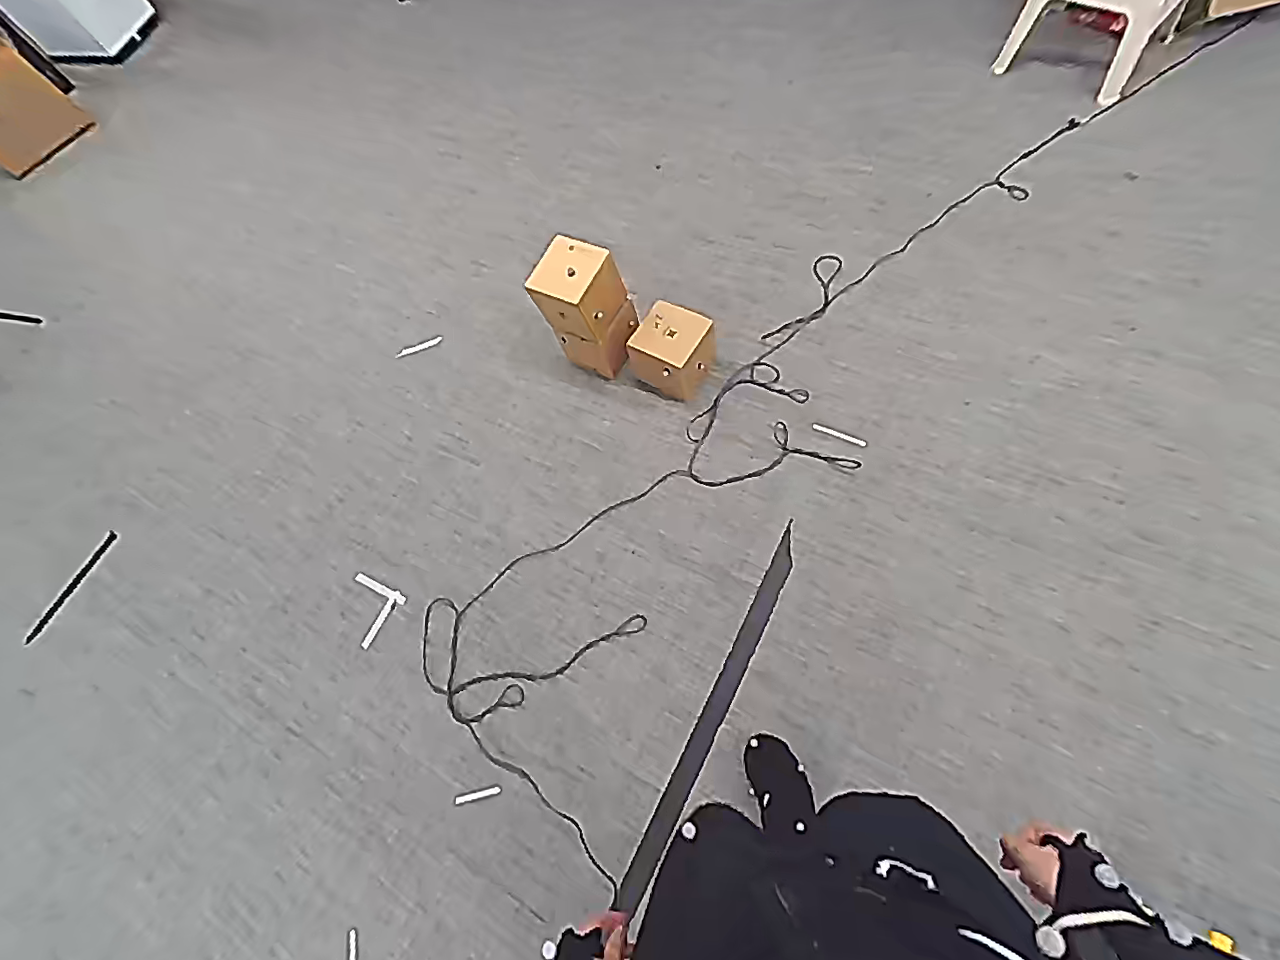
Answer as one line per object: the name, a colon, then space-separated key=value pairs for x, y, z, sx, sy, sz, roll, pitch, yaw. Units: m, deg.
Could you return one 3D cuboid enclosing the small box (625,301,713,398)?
small box: x=0.089 y=-0.349 z=1.482 sx=0.179 sy=0.176 sz=0.168 roll=29 pitch=74 yaw=21
